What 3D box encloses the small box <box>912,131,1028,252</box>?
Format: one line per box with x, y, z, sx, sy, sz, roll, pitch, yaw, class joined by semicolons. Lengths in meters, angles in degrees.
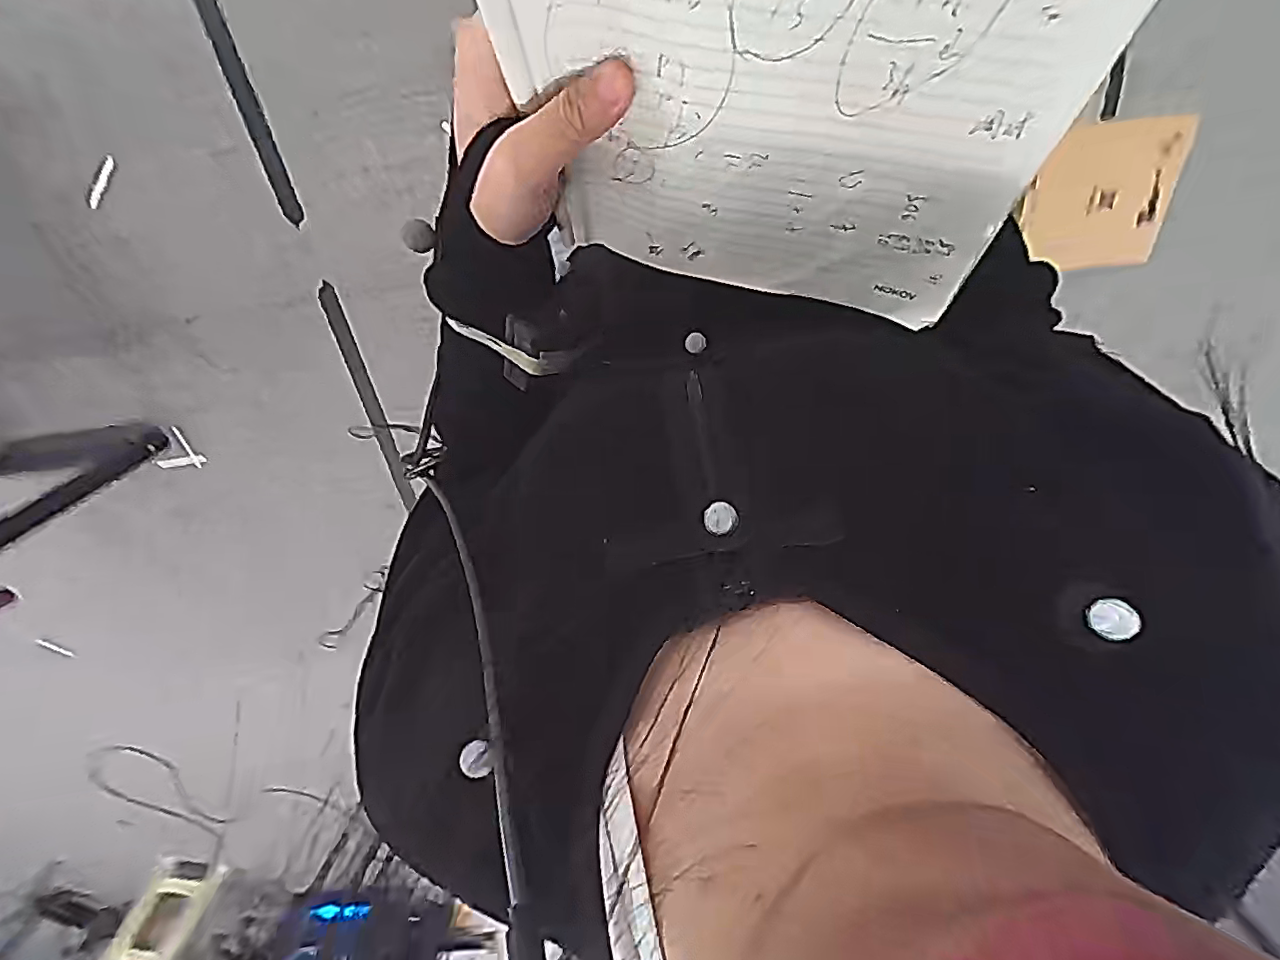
0.580;-0.475;0.890;0.179;0.176;0.168;-1;121;2;small box

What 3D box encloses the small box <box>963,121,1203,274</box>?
0.585;-0.390;0.750;0.179;0.176;0.168;-2;122;5;small box
